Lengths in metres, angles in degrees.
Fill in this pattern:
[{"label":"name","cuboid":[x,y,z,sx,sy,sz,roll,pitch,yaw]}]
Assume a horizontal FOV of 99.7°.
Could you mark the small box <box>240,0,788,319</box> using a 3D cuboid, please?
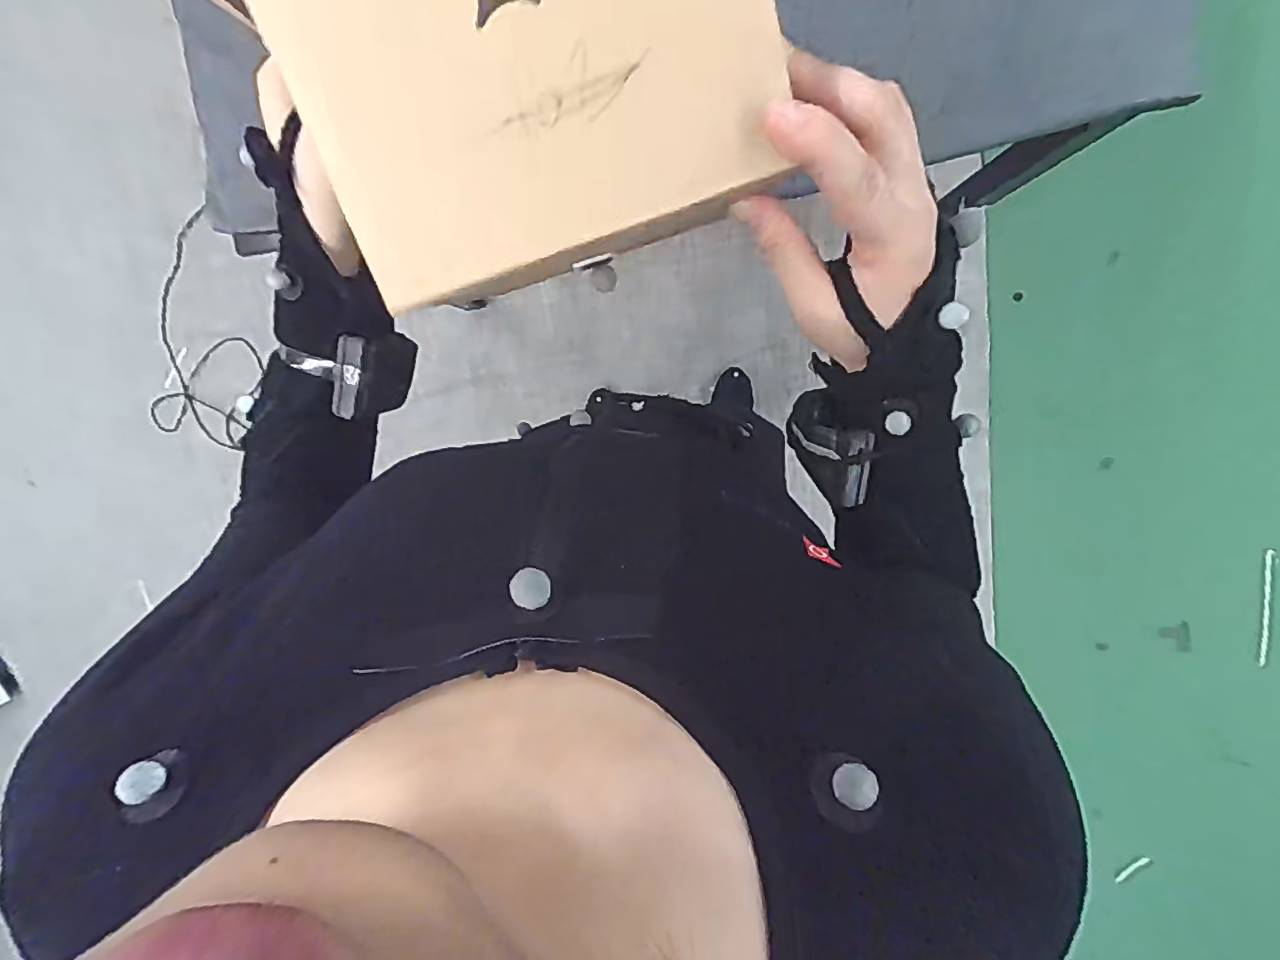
[{"label":"small box","cuboid":[-0.044,-0.191,0.250,0.168,0.176,0.179,-15,112,11]}]
